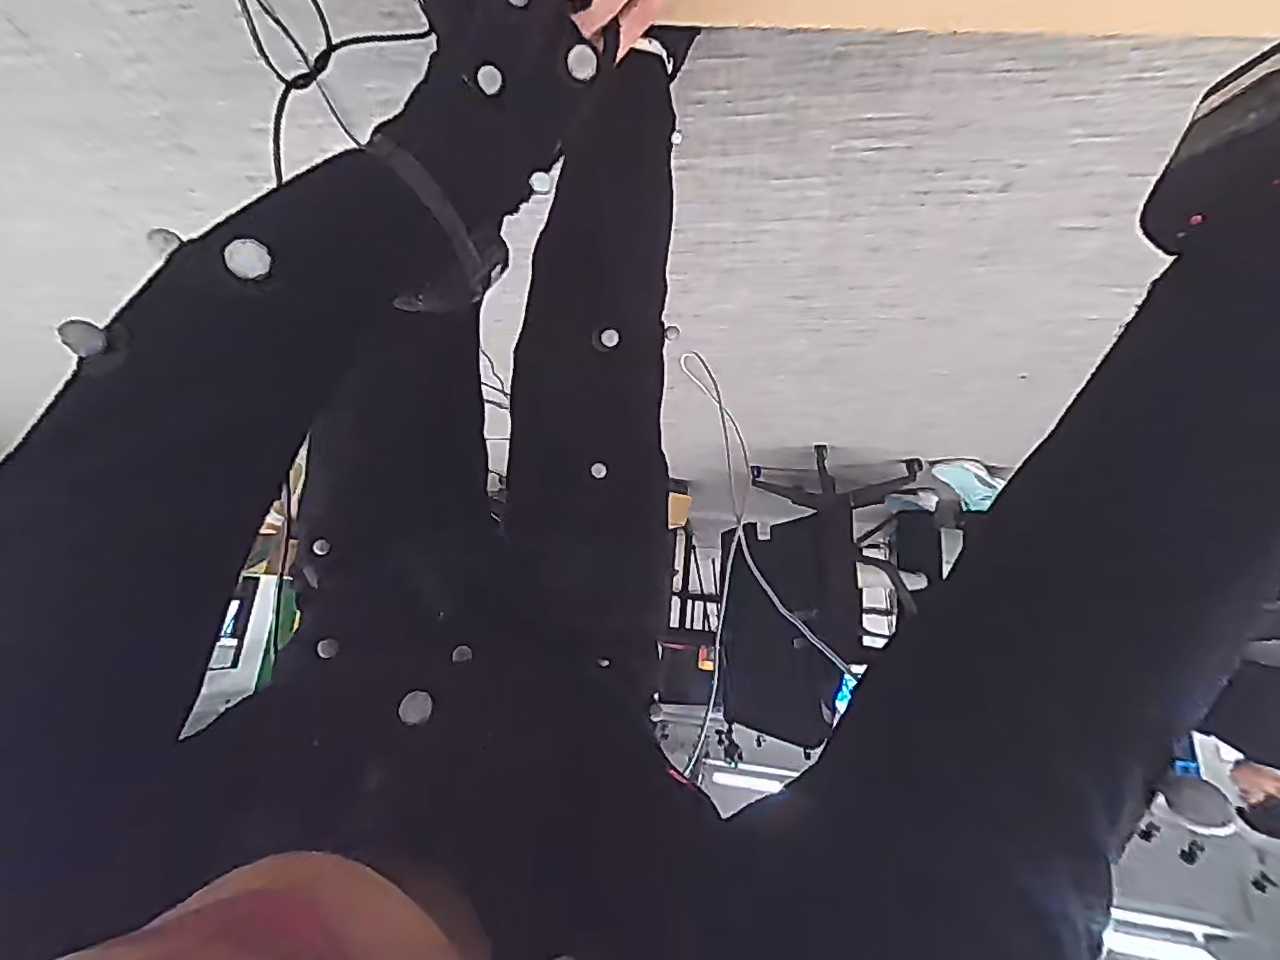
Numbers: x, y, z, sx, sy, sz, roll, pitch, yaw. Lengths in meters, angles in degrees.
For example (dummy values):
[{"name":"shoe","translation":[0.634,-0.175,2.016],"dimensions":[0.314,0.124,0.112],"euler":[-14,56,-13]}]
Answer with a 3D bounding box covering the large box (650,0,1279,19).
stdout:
[{"name":"large box","translation":[0.204,-0.467,0.221],"dimensions":[0.408,0.320,0.320],"euler":[3,167,3]}]
